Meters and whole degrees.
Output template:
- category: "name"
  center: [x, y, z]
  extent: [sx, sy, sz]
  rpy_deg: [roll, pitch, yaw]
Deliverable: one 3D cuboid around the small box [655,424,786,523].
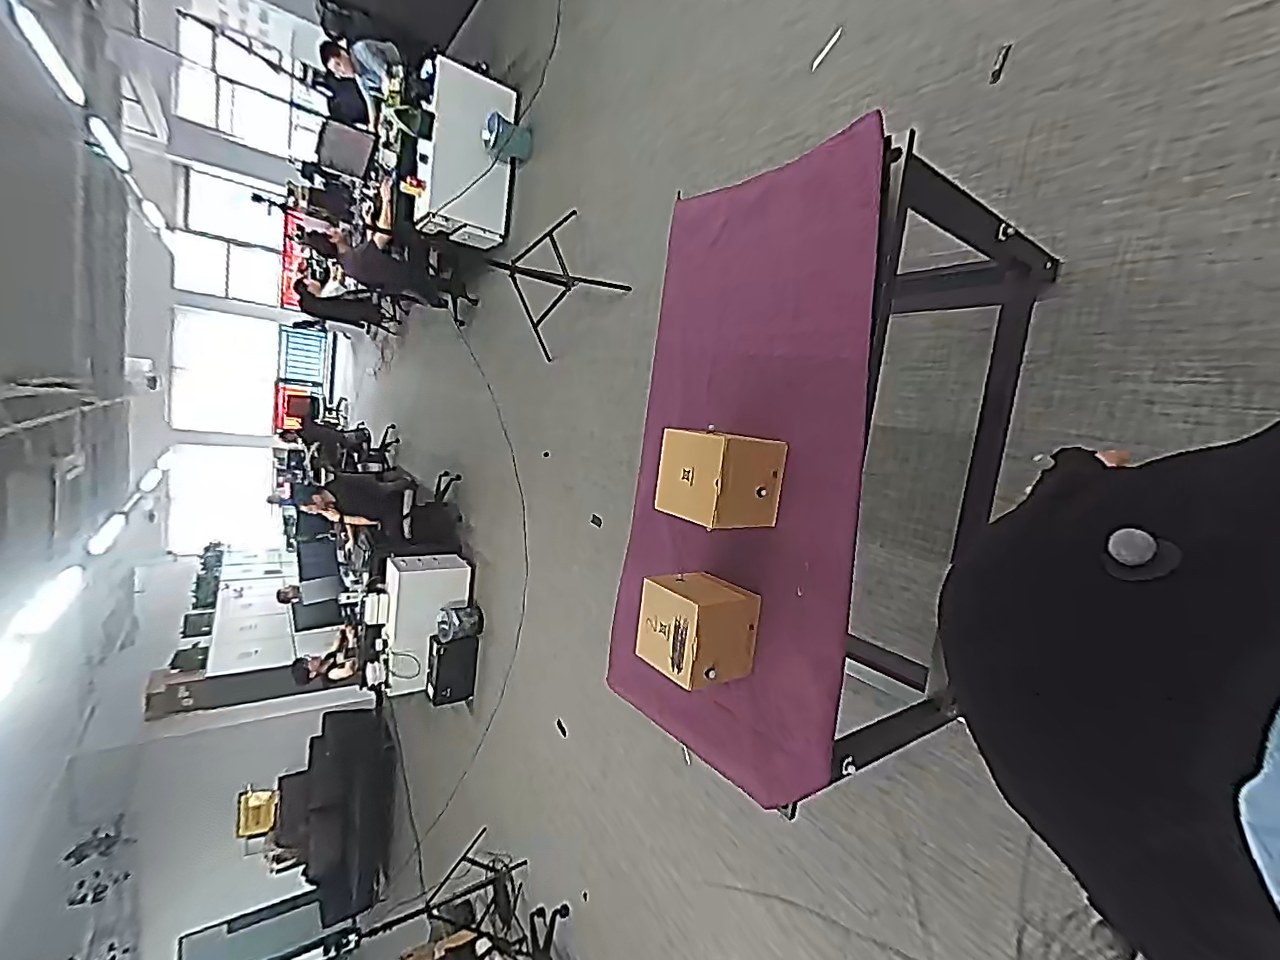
- category: "small box"
  center: [0.156, -0.013, 1.059]
  extent: [0.179, 0.176, 0.168]
  rpy_deg: [16, 101, 53]
